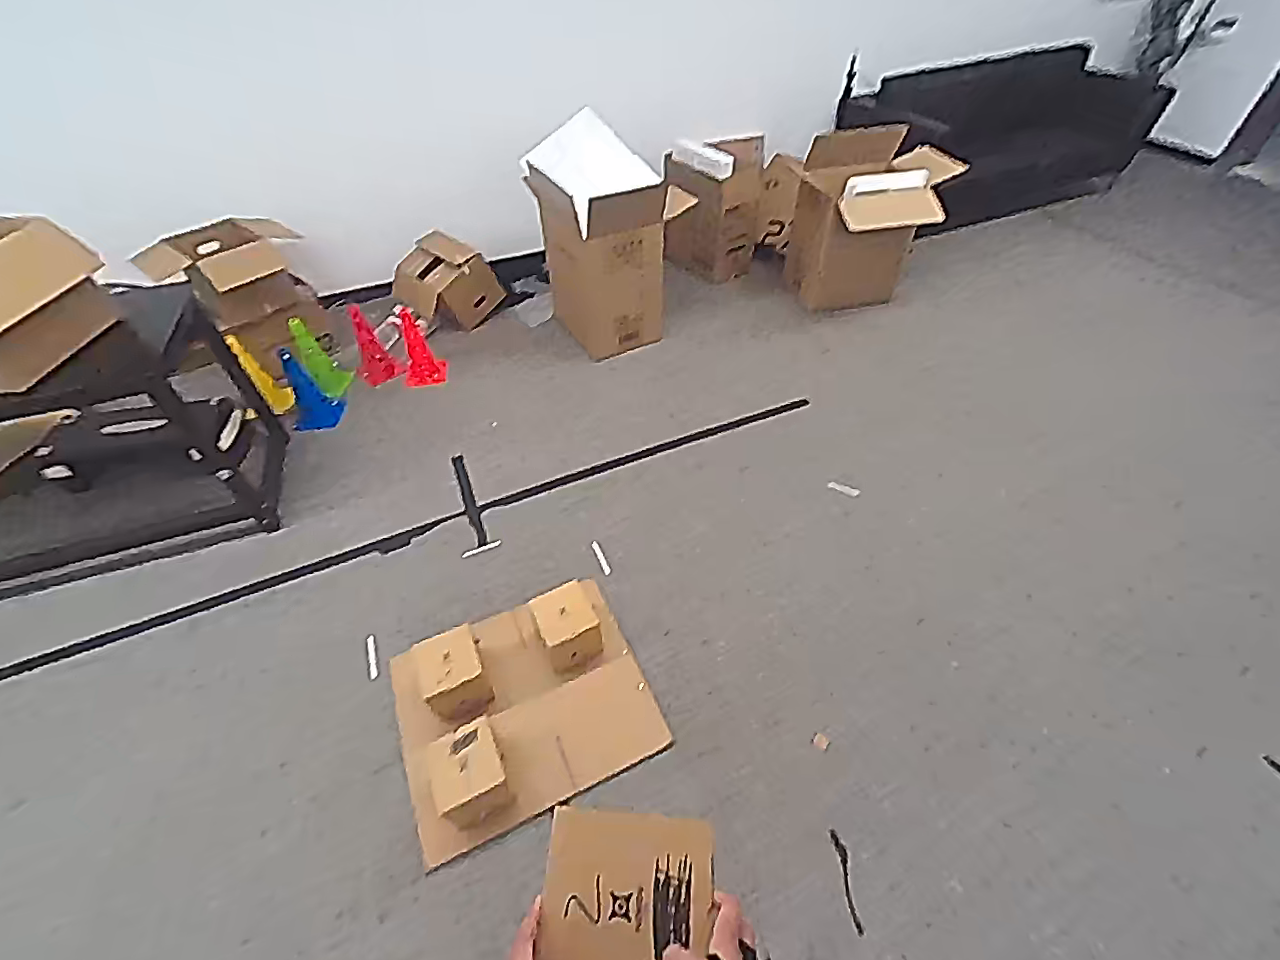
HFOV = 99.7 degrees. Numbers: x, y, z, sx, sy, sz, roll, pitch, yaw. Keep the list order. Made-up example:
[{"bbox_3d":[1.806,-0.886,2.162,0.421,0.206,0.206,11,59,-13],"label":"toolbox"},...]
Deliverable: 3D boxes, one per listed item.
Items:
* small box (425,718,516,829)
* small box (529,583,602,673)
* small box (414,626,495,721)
[{"bbox_3d":[-0.433,0.758,1.395,0.168,0.176,0.179,-21,51,-17],"label":"small box"},{"bbox_3d":[-0.228,0.461,1.677,0.168,0.176,0.179,-23,50,-19],"label":"small box"},{"bbox_3d":[-0.539,0.566,1.576,0.168,0.176,0.179,-21,50,-16],"label":"small box"}]
